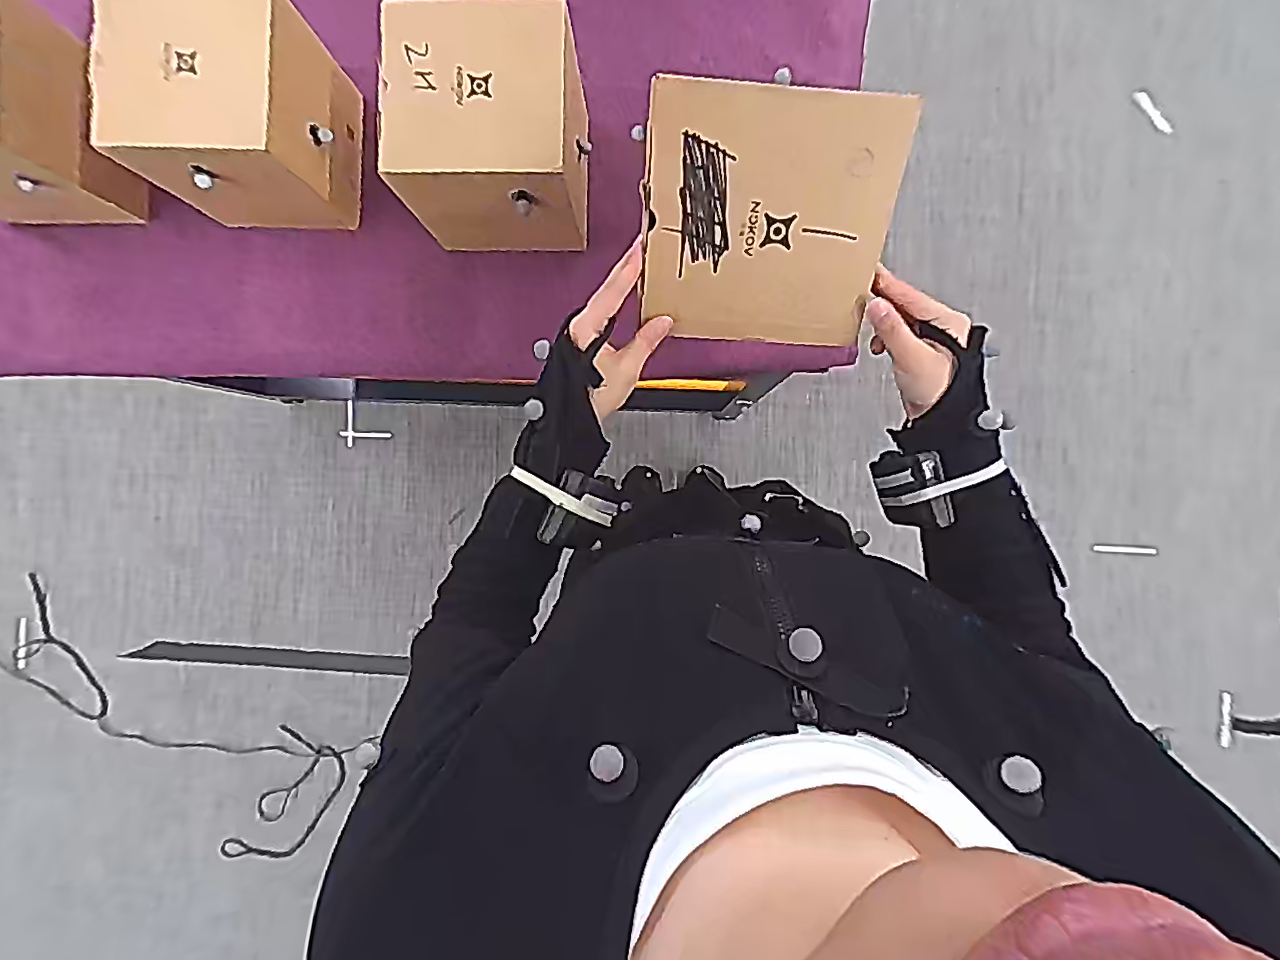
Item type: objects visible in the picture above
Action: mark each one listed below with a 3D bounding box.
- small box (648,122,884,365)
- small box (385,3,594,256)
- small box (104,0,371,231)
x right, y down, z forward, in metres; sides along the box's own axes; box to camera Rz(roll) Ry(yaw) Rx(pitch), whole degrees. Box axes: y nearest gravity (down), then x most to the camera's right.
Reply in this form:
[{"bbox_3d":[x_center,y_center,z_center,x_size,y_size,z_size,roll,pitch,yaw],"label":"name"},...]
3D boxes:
[{"bbox_3d":[0.098,-0.199,0.503,0.179,0.176,0.168,2,97,-1],"label":"small box"},{"bbox_3d":[-0.145,-0.357,0.581,0.179,0.176,0.168,2,89,2],"label":"small box"},{"bbox_3d":[-0.421,-0.392,0.594,0.179,0.176,0.168,3,90,2],"label":"small box"}]
